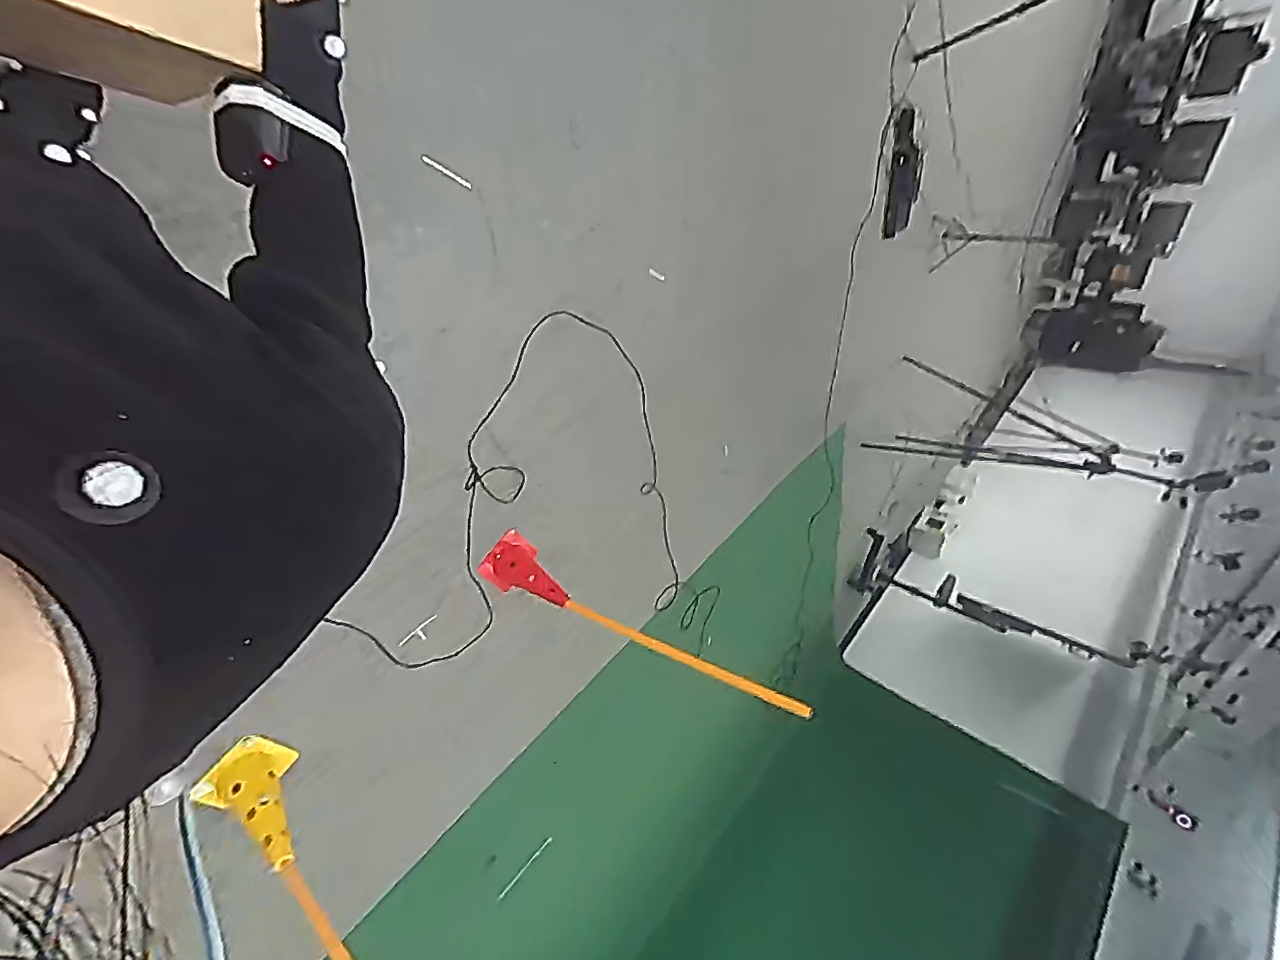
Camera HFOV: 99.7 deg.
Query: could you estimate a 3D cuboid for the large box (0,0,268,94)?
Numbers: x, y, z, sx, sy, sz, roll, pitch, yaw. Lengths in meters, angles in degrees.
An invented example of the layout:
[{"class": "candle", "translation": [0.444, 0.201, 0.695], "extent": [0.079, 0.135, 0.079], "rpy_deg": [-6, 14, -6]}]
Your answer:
[{"class": "large box", "translation": [-0.517, -0.494, 0.334], "extent": [0.408, 0.320, 0.320], "rpy_deg": [-12, 117, -47]}]
